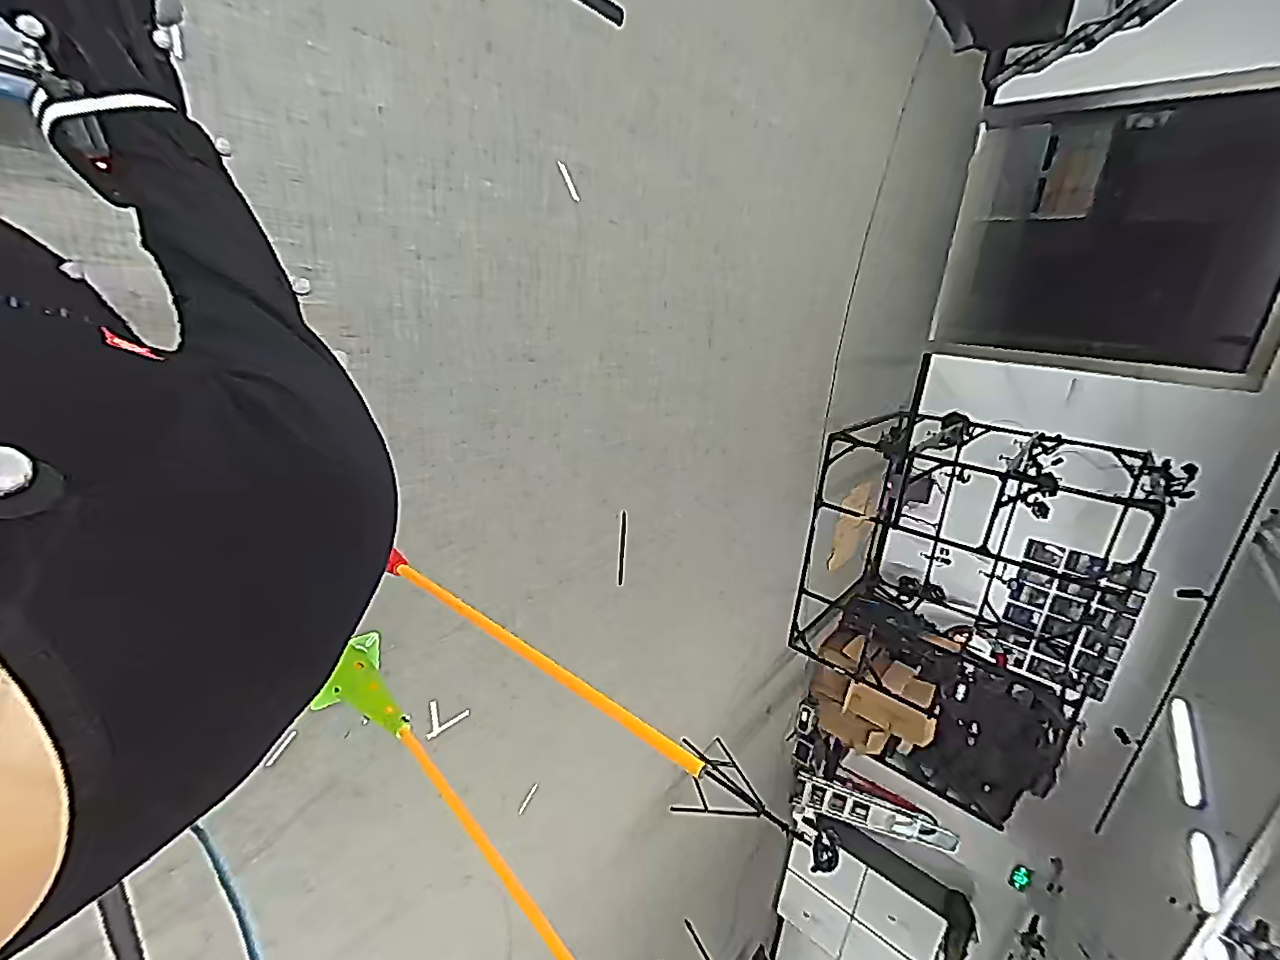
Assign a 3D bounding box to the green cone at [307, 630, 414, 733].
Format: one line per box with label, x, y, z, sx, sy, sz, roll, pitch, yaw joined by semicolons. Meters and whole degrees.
green cone;-0.759;0.611;1.530;0.202;0.368;0.200;-13;115;-51
